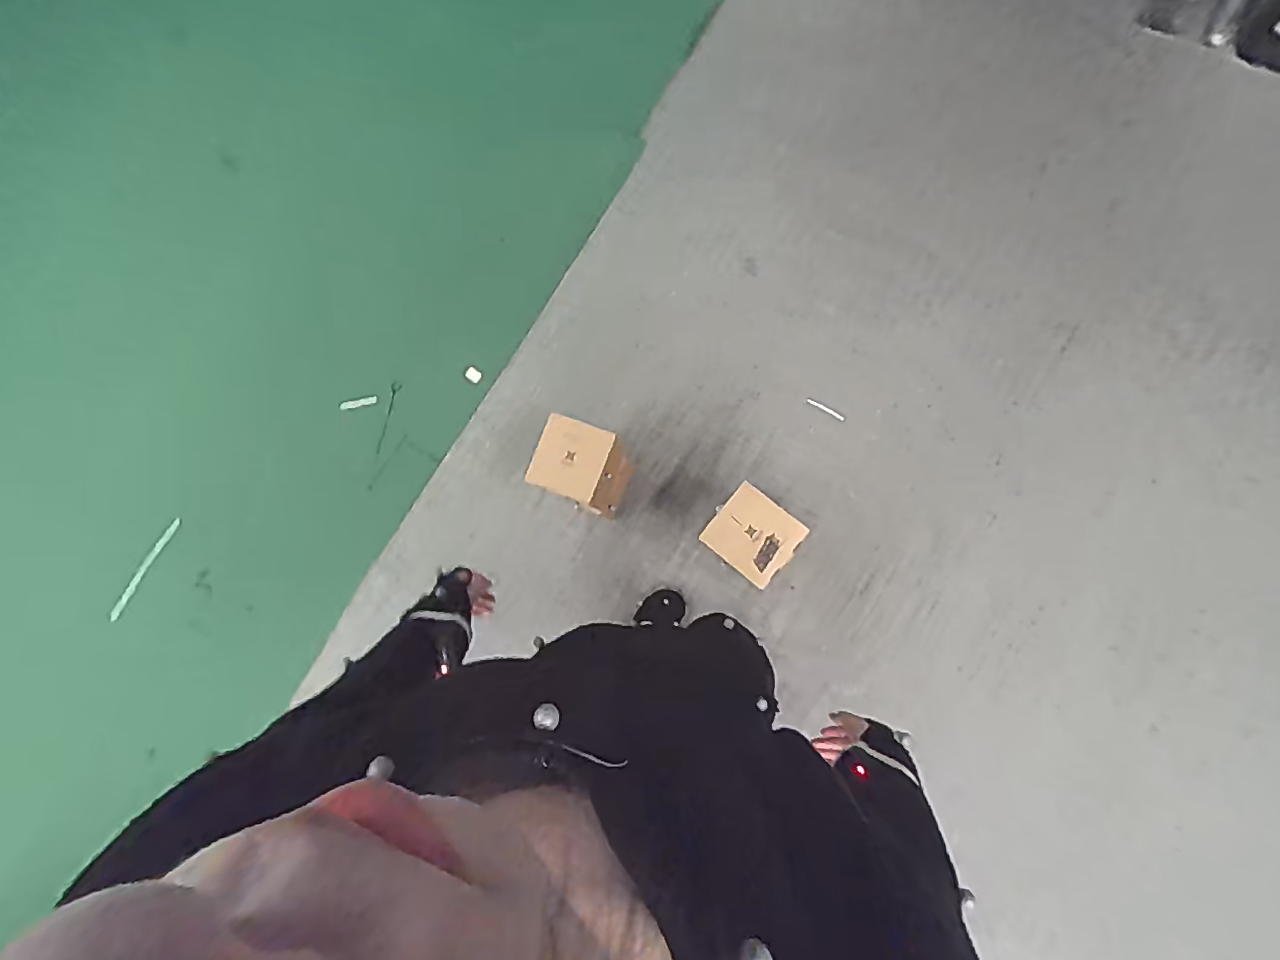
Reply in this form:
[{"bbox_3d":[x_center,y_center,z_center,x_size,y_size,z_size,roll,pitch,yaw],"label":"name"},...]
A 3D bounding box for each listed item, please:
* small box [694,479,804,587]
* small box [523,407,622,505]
[{"bbox_3d":[0.244,0.121,1.233,0.179,0.176,0.168,40,88,12],"label":"small box"},{"bbox_3d":[-0.152,-0.049,1.308,0.168,0.176,0.179,22,84,9],"label":"small box"}]
